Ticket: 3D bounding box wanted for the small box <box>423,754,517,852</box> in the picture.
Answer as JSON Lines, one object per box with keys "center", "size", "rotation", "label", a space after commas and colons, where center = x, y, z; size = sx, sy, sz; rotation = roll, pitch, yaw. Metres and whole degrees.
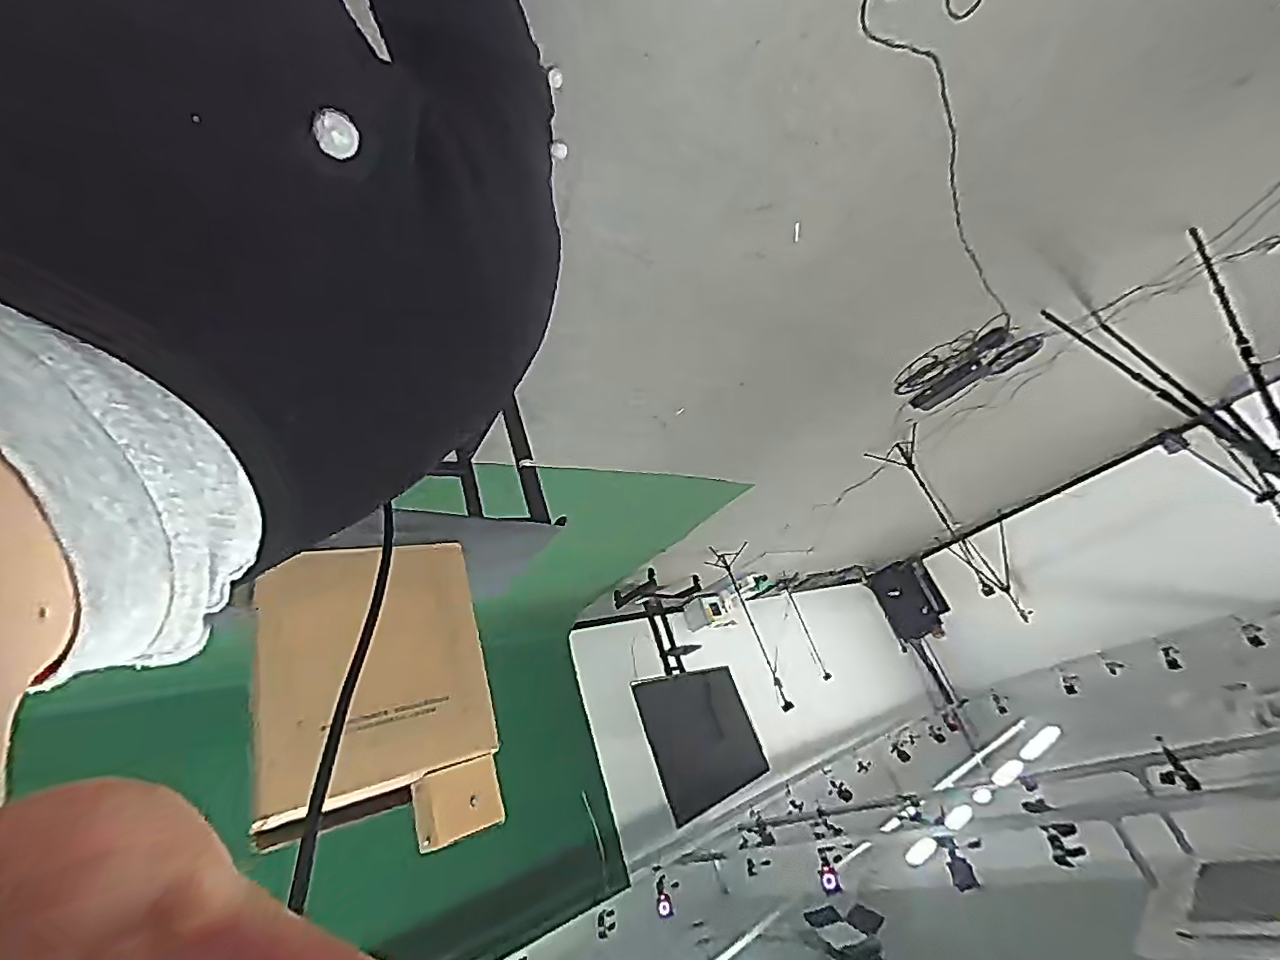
{"center": [-0.456, 0.852, 1.437], "size": [0.179, 0.176, 0.168], "rotation": [-2, 148, -39], "label": "small box"}
